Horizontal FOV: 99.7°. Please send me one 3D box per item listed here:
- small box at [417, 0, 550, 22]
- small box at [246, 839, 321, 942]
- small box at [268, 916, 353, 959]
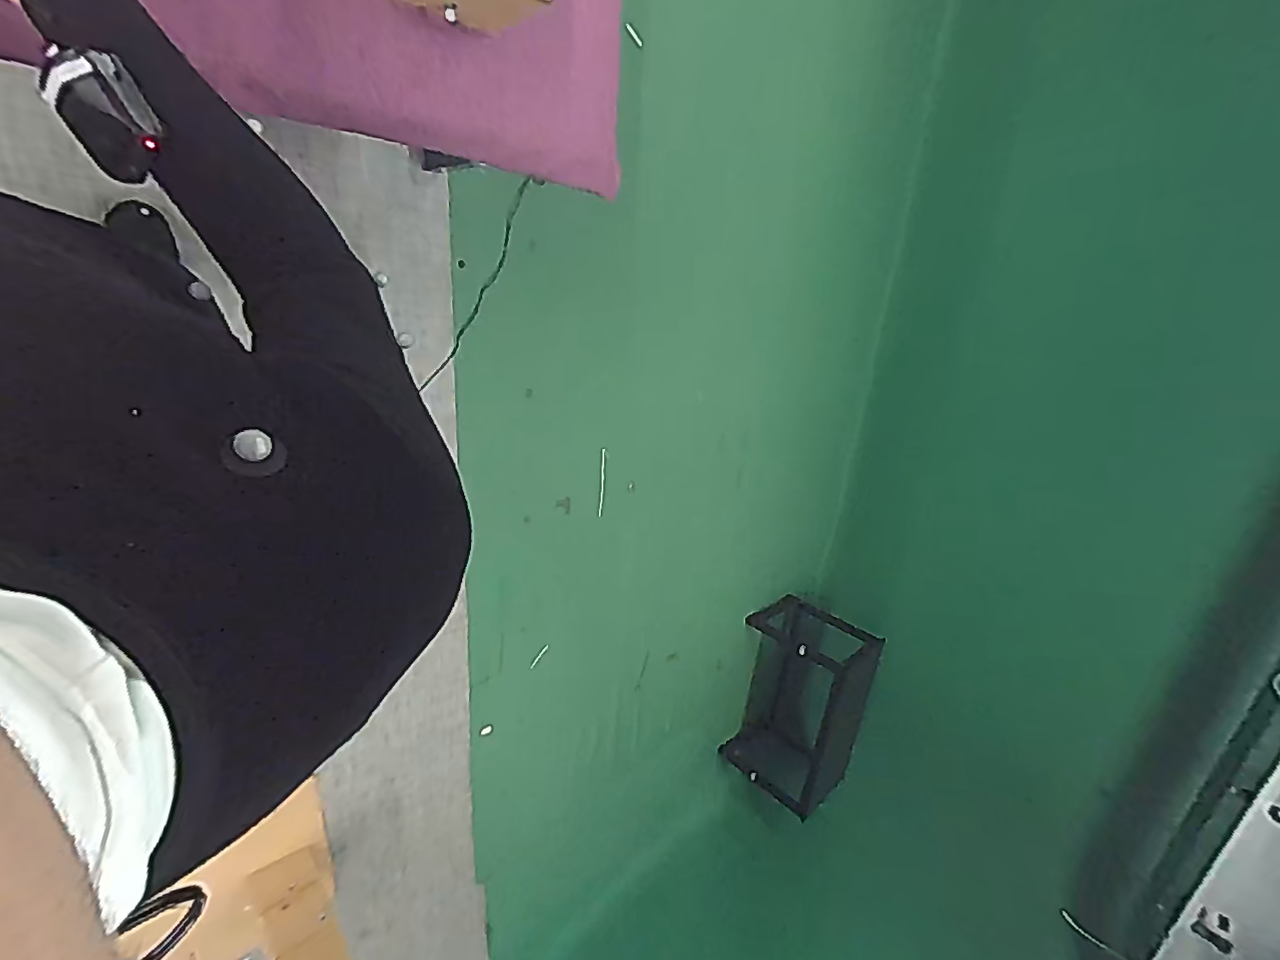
[{"bbox_3d":[-0.234,-0.737,0.707,0.179,0.176,0.168,-17,119,-41],"label":"small box"},{"bbox_3d":[-1.178,1.346,1.789,0.179,0.176,0.168,-8,114,-43],"label":"small box"},{"bbox_3d":[-0.955,1.432,1.564,0.179,0.176,0.168,-6,111,-44],"label":"small box"}]
